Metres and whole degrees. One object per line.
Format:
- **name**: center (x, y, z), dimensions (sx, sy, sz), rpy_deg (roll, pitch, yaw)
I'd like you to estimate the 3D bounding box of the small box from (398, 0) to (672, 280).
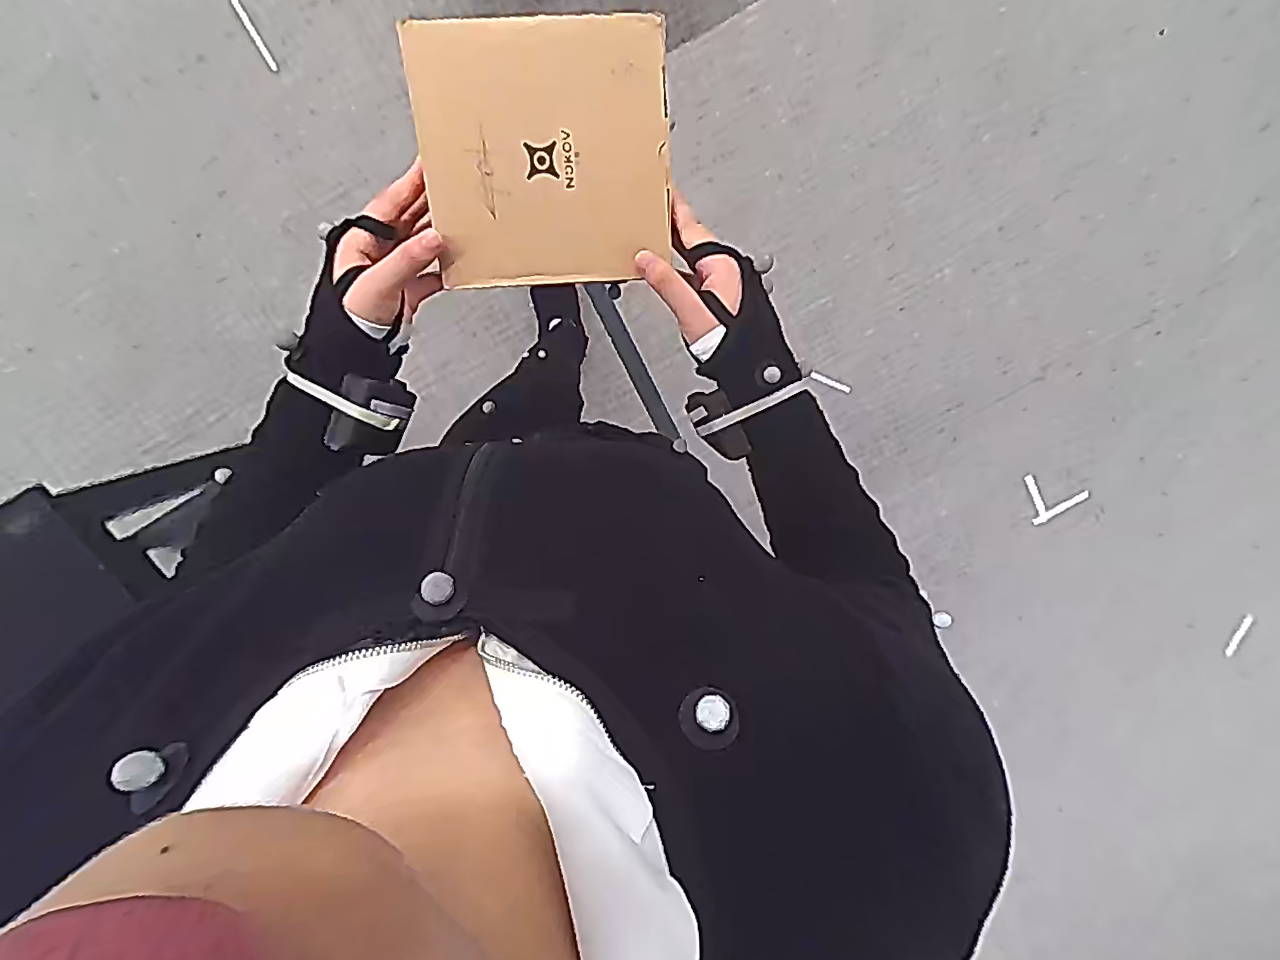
- **small box**: center (-0.072, -0.261, 0.455), dimensions (0.179, 0.176, 0.168), rpy_deg (-5, 109, -2)
